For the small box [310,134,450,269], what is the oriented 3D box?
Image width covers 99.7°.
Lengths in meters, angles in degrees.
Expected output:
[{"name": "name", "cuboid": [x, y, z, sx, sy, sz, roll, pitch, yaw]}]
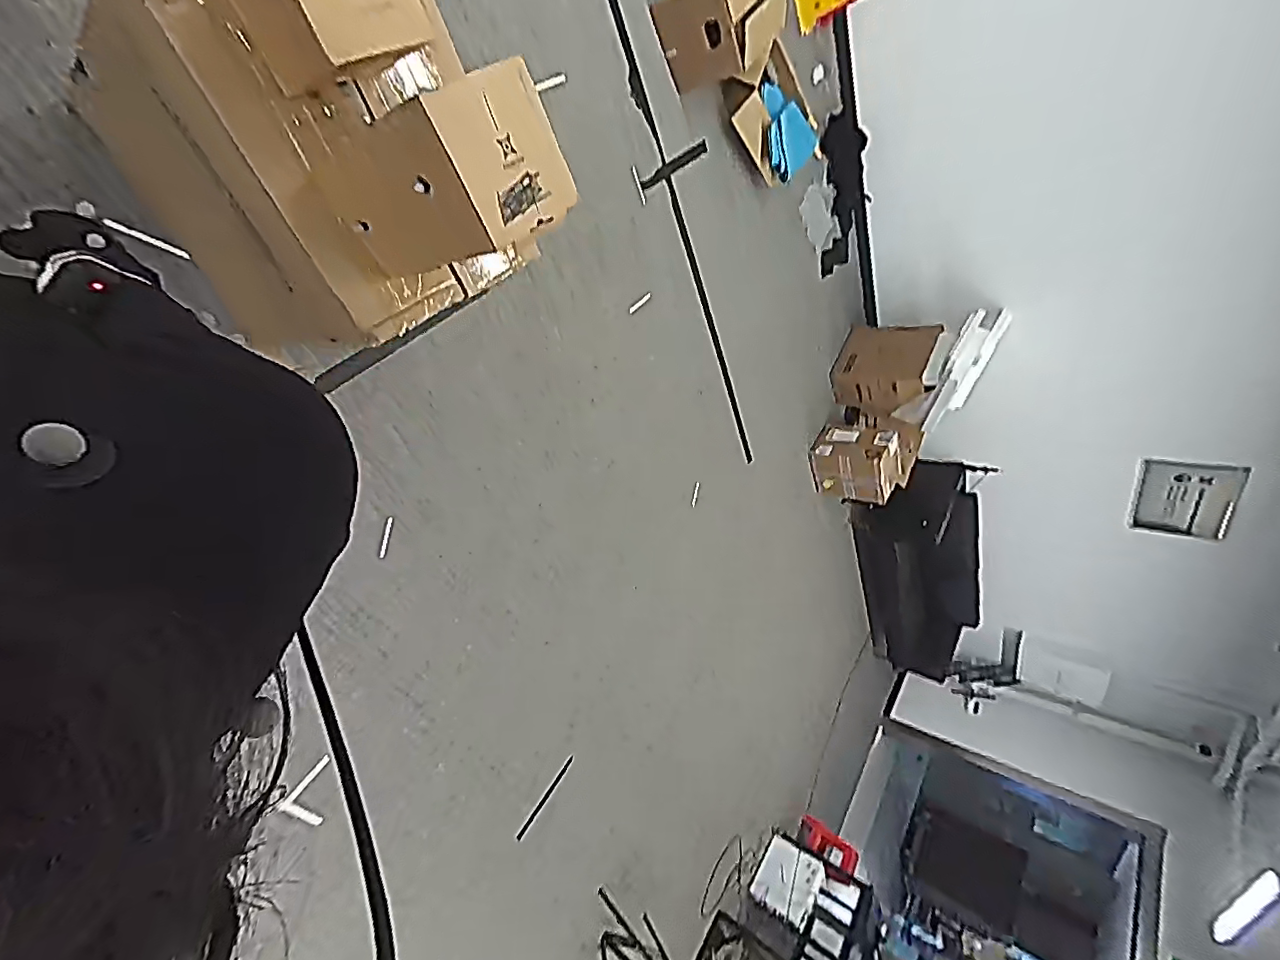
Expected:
[{"name": "small box", "cuboid": [-0.349, -0.438, 0.818, 0.168, 0.176, 0.179, -53, 134, -27]}]

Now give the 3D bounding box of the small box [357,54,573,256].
[{"name": "small box", "cuboid": [-0.226, -0.412, 0.710, 0.168, 0.176, 0.179, -48, 130, -31]}]
